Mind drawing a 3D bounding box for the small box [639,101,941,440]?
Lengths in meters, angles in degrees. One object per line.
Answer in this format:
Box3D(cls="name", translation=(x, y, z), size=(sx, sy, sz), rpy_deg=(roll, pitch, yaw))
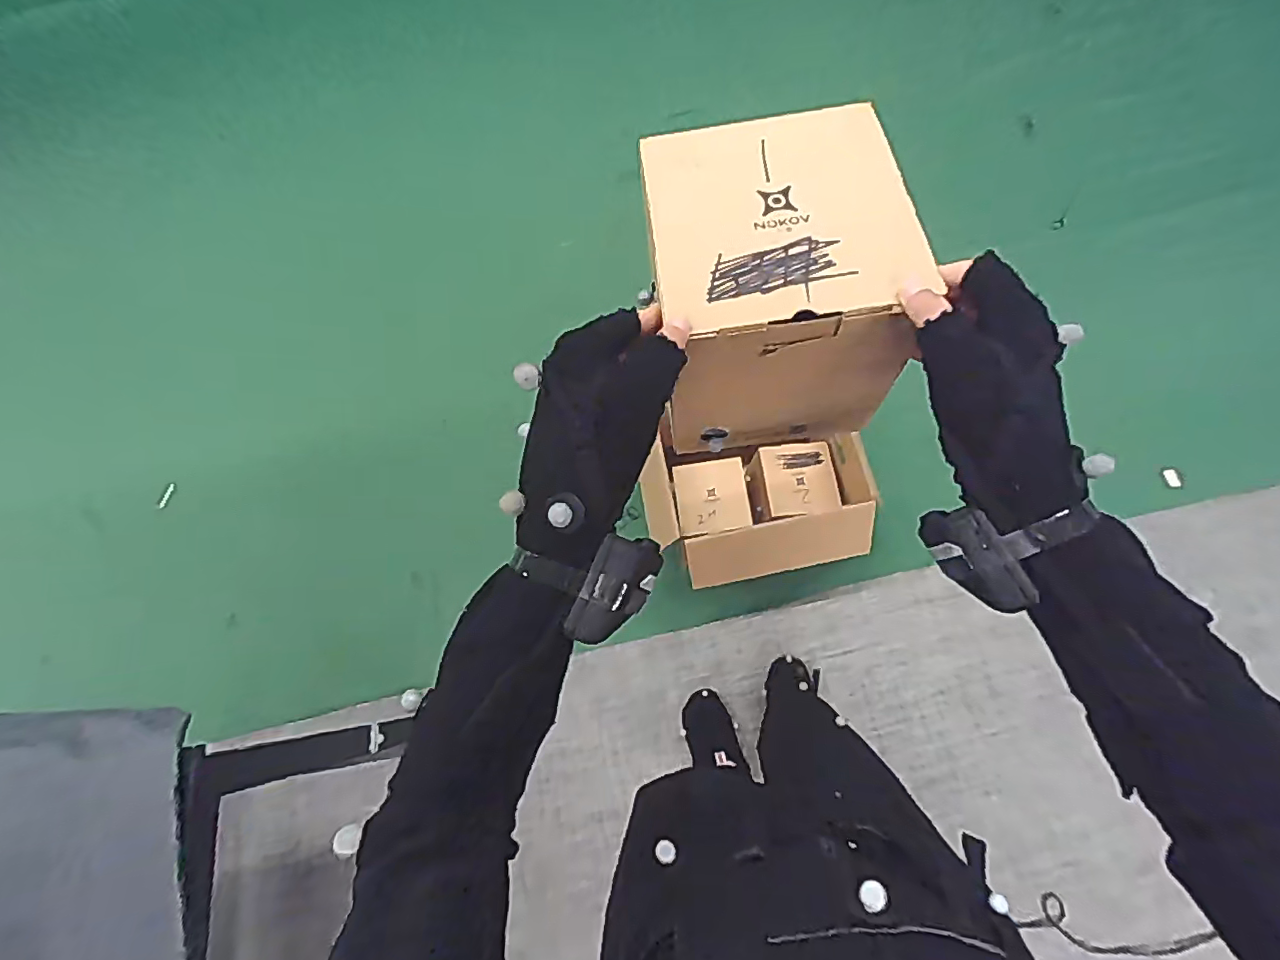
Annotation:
Box3D(cls="small box", translation=(0.095, -0.142, 0.420), size=(0.168, 0.176, 0.179), rpy_deg=(-7, 67, 3))
